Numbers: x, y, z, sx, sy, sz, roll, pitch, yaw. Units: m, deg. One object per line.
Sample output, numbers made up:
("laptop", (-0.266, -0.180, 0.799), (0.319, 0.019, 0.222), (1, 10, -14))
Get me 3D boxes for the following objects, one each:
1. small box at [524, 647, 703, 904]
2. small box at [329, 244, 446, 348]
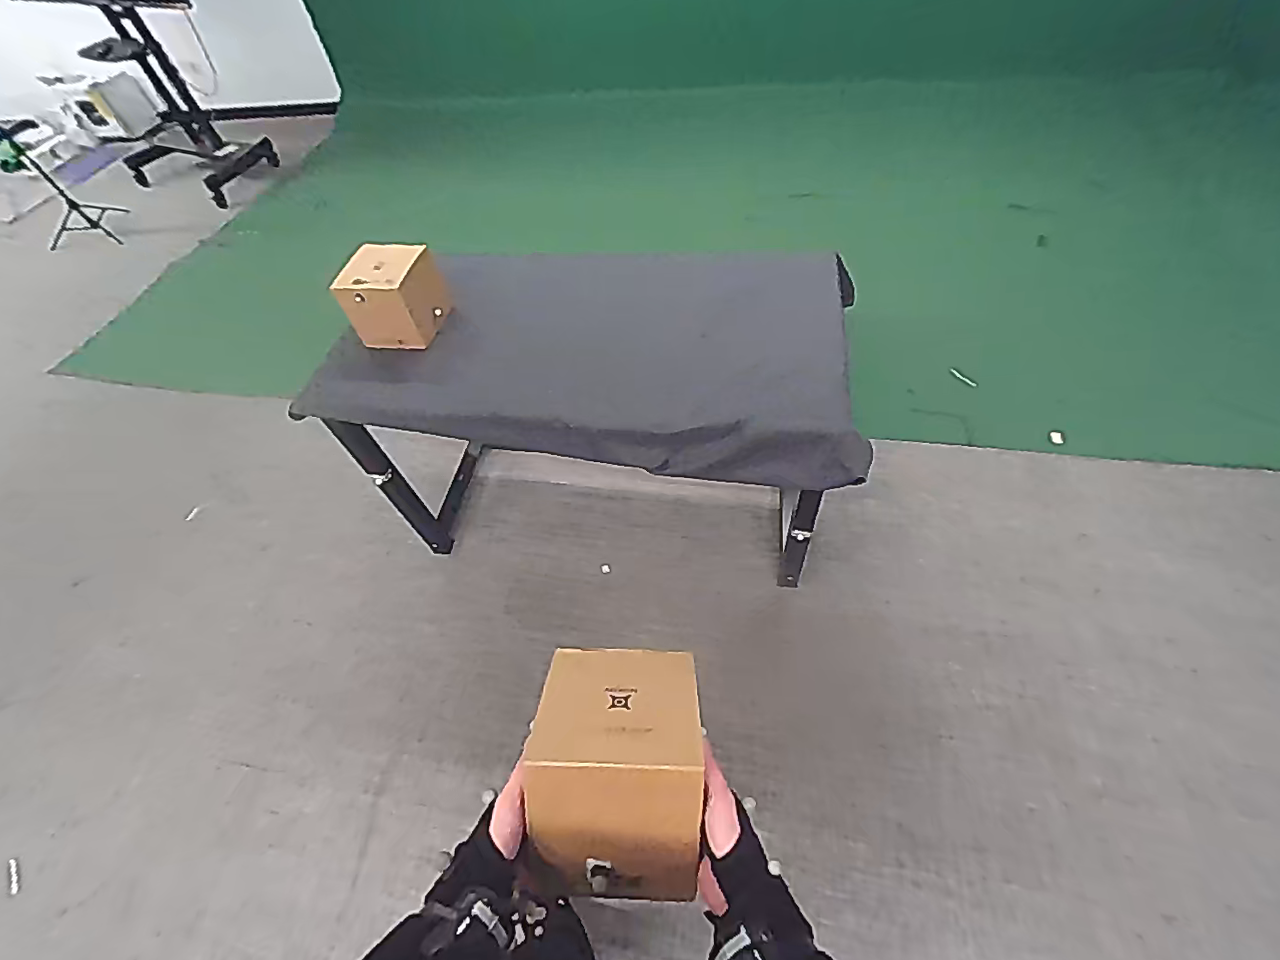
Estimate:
("small box", (-0.024, 0.305, 0.585), (0.168, 0.176, 0.179), (1, 18, 1))
("small box", (-0.585, -0.437, 1.284), (0.168, 0.176, 0.179), (3, 54, 10))
